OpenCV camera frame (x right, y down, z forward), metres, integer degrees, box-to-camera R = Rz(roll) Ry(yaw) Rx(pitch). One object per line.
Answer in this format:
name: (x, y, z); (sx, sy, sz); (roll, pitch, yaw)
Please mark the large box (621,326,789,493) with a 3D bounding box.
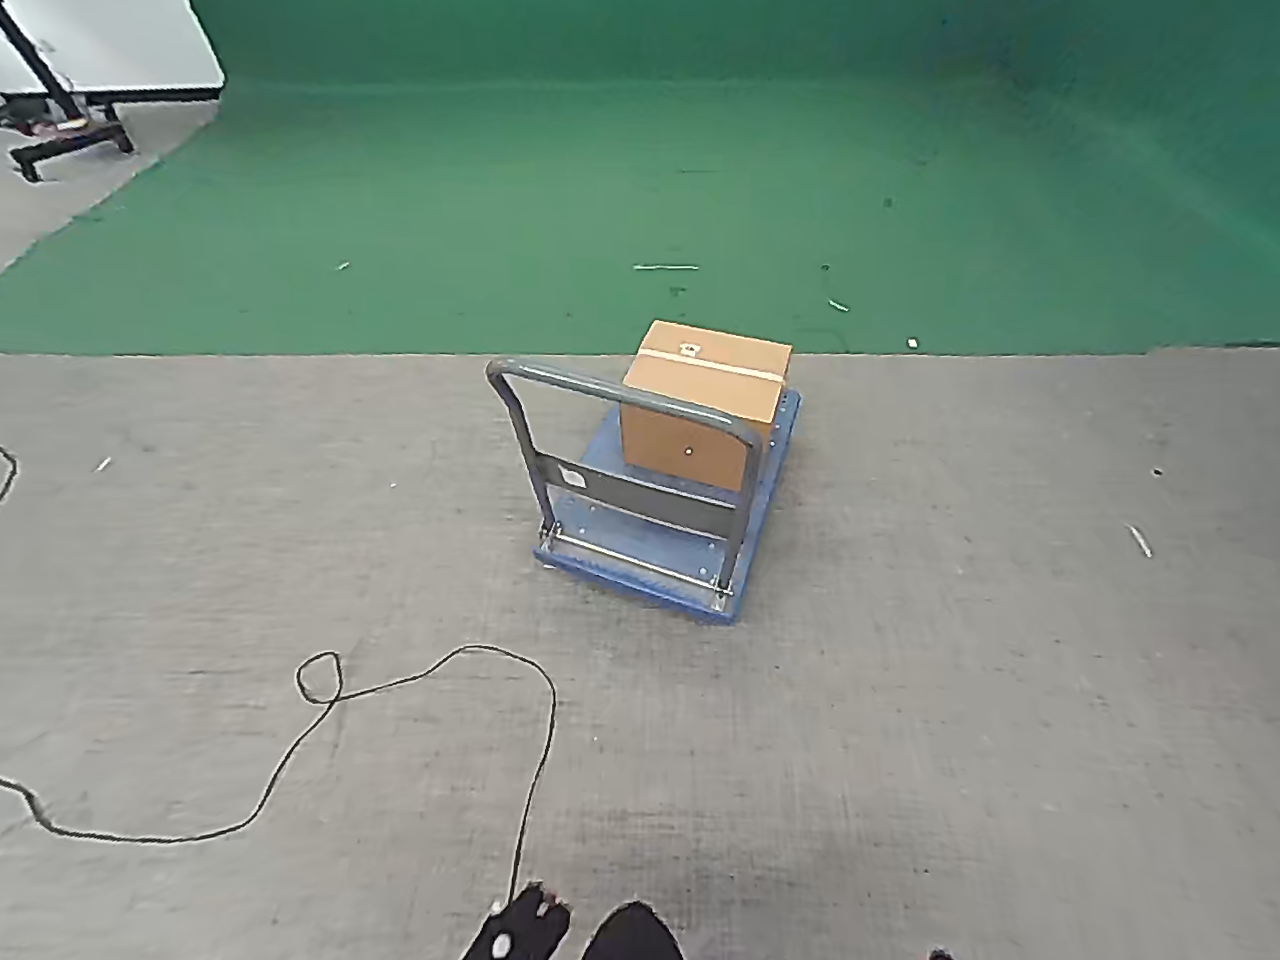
large box: (0.192, -0.205, 1.584); (0.408, 0.320, 0.320); (14, 53, 13)
